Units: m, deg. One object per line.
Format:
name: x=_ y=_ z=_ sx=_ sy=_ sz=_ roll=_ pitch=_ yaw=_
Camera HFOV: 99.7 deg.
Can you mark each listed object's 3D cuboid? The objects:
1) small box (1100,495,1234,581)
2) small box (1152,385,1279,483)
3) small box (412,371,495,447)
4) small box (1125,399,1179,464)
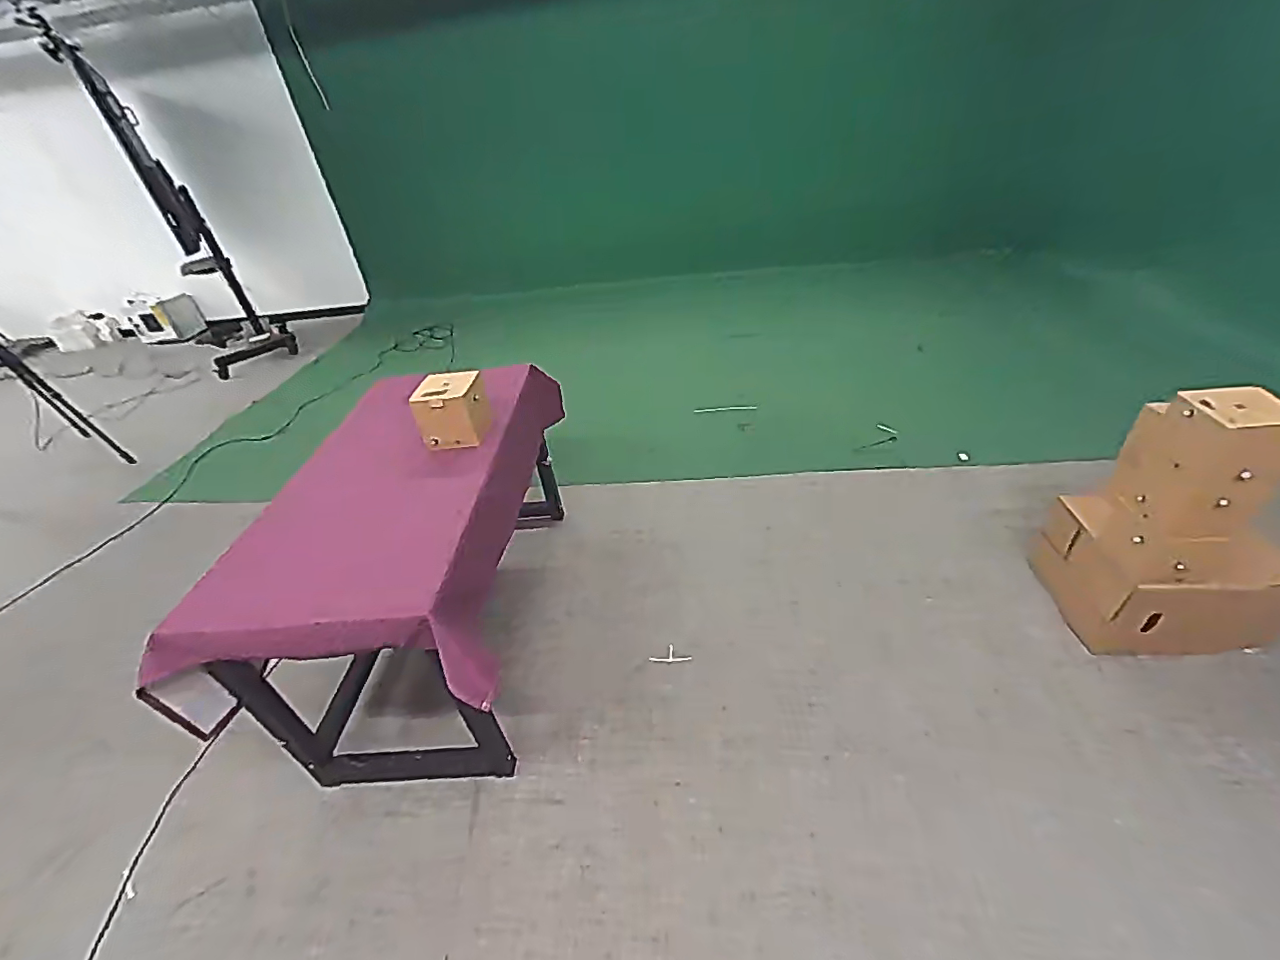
small box: x=1.402 y=0.156 z=1.454 sx=0.168 sy=0.176 sz=0.179 roll=-1 pitch=37 yaw=7
small box: x=1.369 y=-0.105 z=1.259 sx=0.179 sy=0.176 sz=0.168 roll=-2 pitch=37 yaw=8
small box: x=-0.554 y=-0.210 z=1.637 sx=0.168 sy=0.176 sz=0.179 roll=-4 pitch=36 yaw=6
small box: x=1.542 y=-0.115 z=1.524 sx=0.168 sy=0.176 sz=0.179 roll=-2 pitch=36 yaw=4
